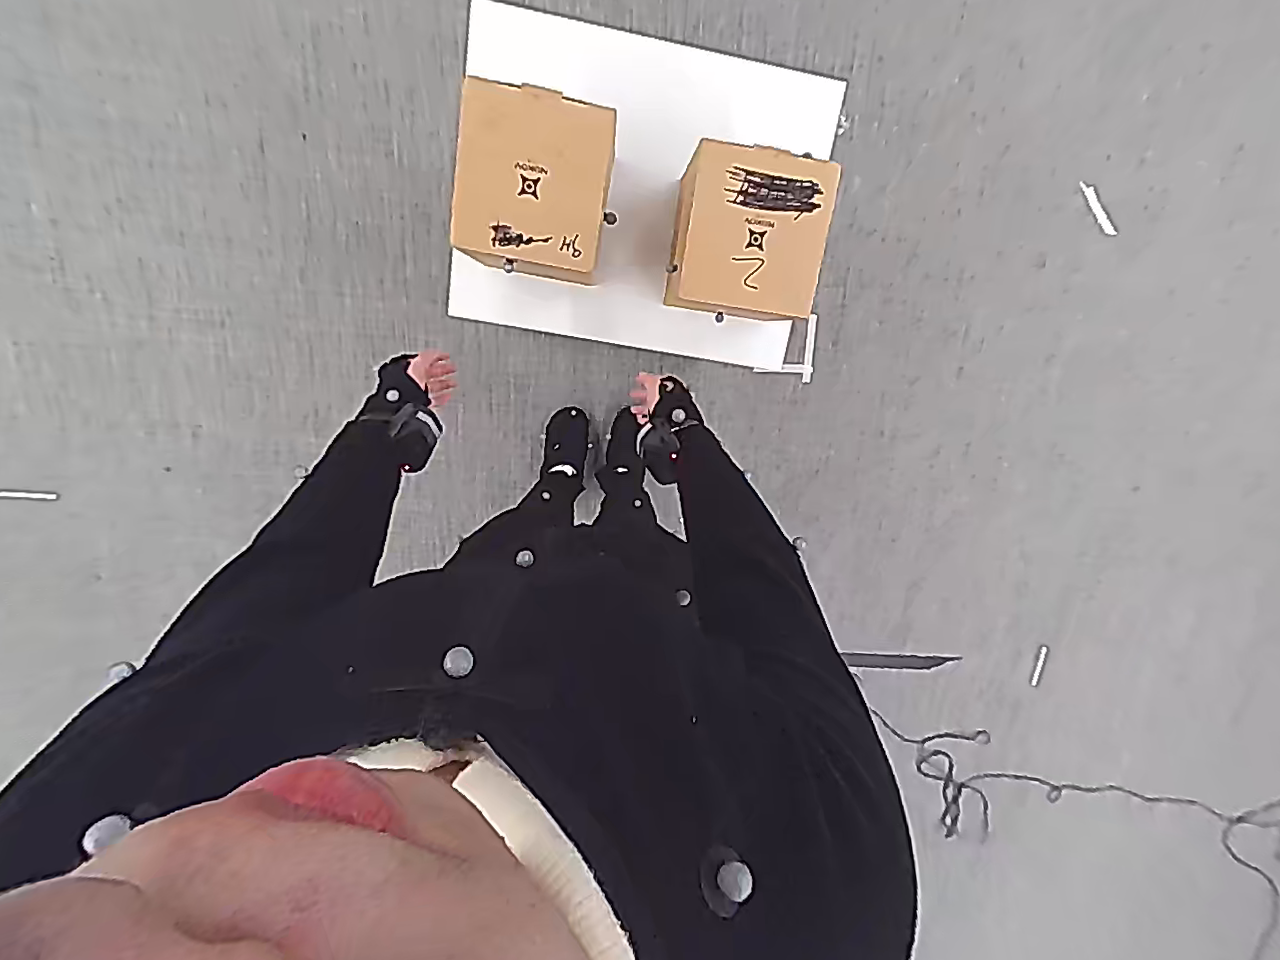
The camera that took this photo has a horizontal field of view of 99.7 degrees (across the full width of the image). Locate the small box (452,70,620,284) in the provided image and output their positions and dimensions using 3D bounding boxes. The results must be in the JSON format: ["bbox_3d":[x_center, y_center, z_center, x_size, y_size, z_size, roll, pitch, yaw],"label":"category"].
[{"bbox_3d":[-0.123,-0.357,0.675,0.168,0.176,0.179,9,104,-6],"label":"small box"}]
